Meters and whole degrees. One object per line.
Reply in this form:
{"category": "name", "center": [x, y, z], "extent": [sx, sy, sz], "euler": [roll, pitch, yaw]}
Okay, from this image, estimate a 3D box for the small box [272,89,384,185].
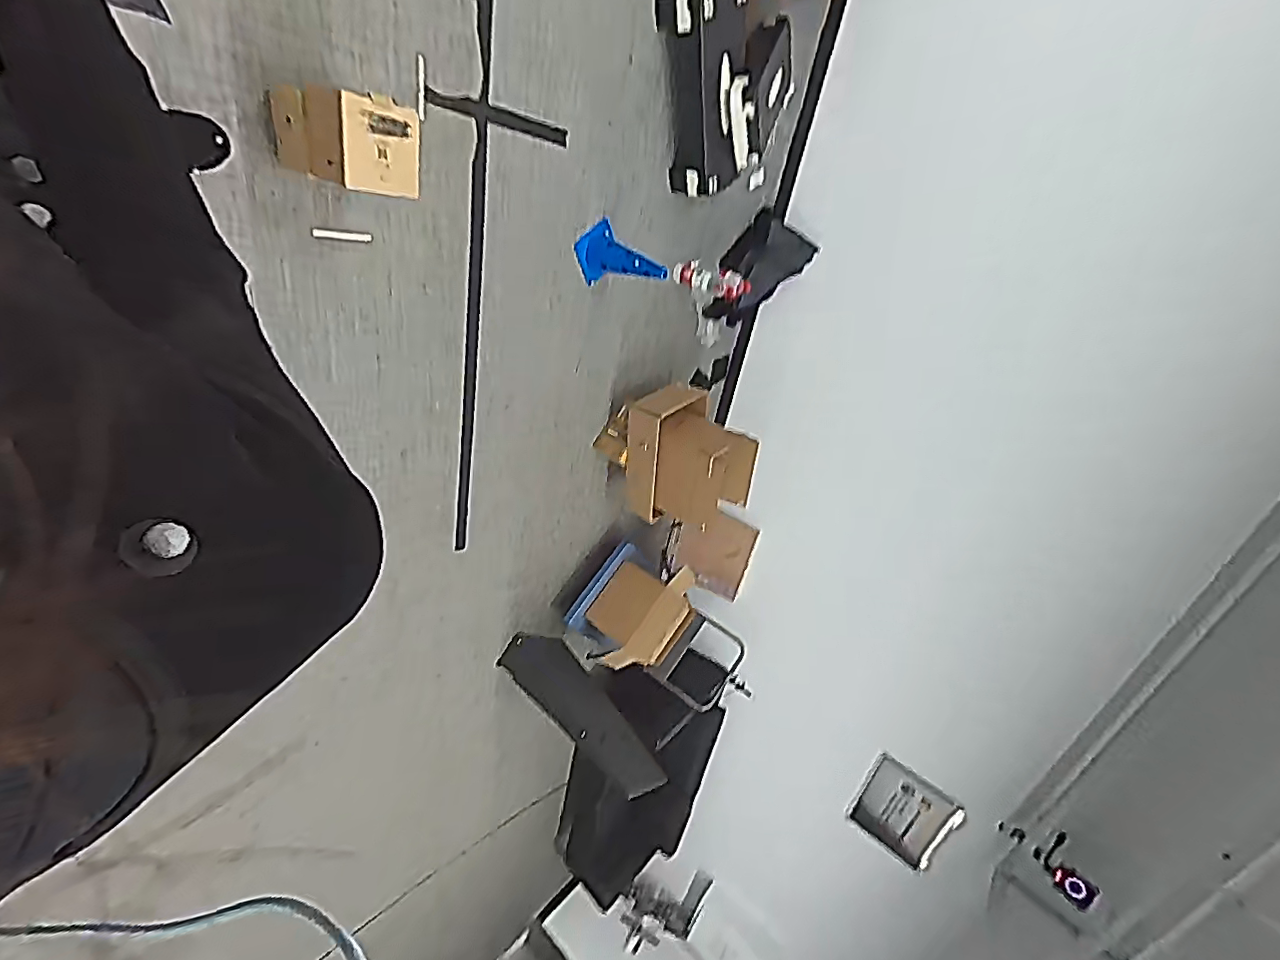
{"category": "small box", "center": [-0.731, -0.801, 1.266], "extent": [0.179, 0.176, 0.168], "euler": [-25, 135, -45]}
